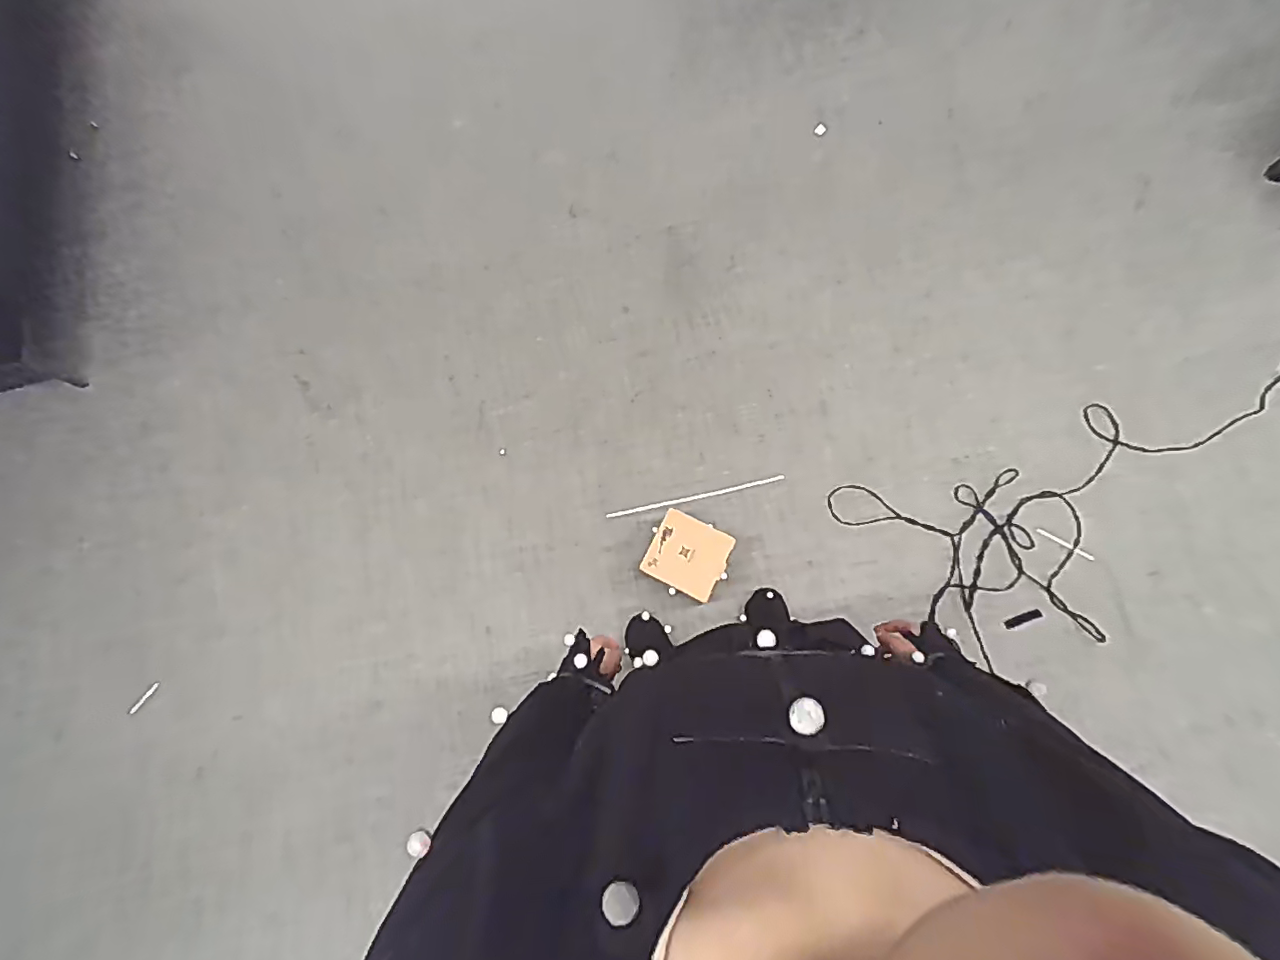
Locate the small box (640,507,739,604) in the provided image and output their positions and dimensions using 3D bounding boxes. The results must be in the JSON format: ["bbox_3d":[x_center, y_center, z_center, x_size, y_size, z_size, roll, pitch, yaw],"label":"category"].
[{"bbox_3d":[0.119,0.185,1.306,0.179,0.176,0.168,26,81,11],"label":"small box"}]
